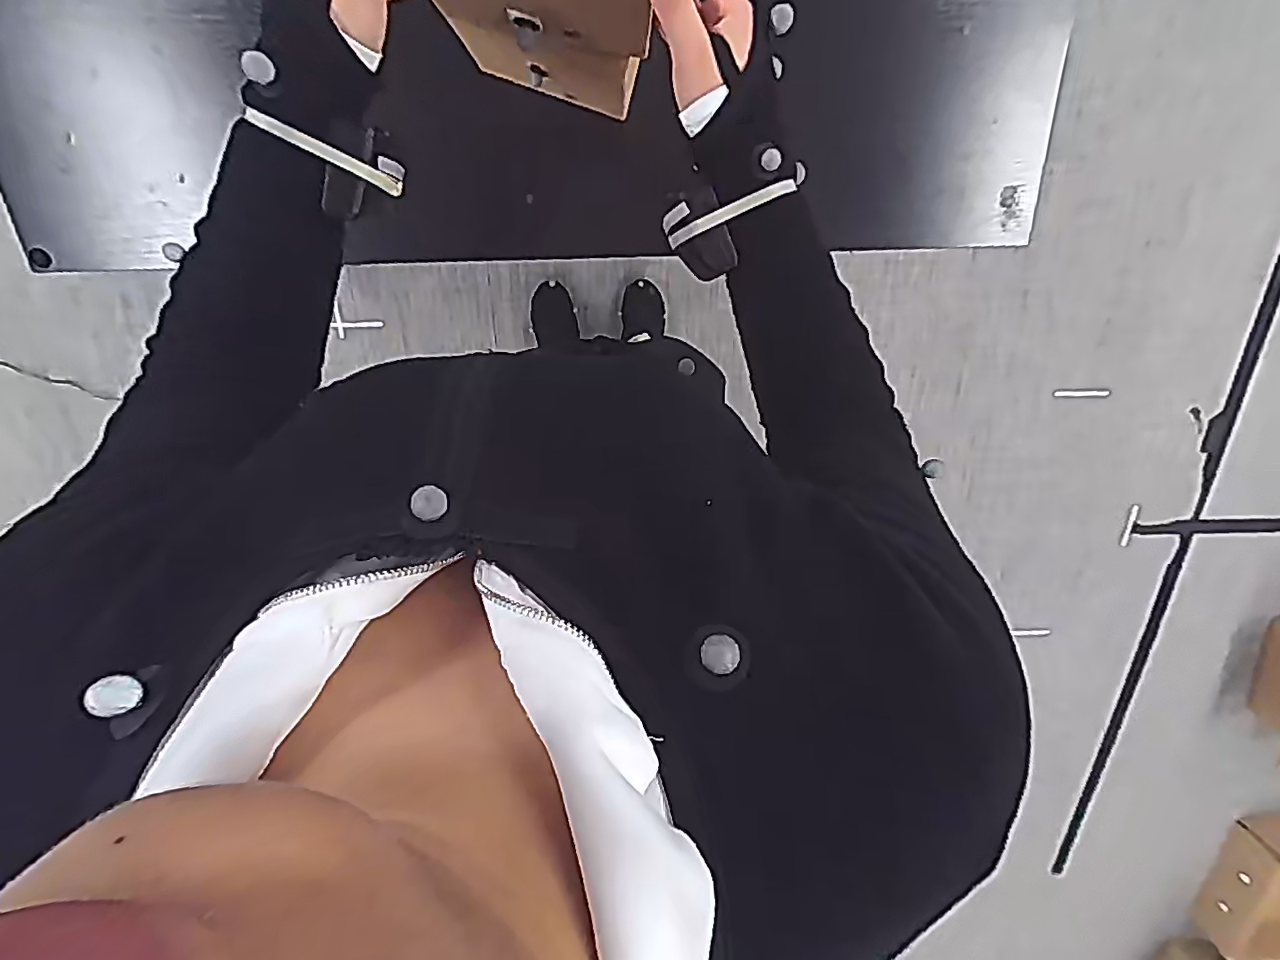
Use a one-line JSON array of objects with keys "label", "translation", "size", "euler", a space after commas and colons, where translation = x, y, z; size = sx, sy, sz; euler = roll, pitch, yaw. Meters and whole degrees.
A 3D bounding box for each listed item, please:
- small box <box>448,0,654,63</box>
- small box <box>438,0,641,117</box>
[{"label": "small box", "translation": [-0.061, -0.418, 0.354], "size": [0.168, 0.176, 0.179], "euler": [7, 112, -4]}, {"label": "small box", "translation": [-0.069, -0.478, 0.506], "size": [0.168, 0.176, 0.179], "euler": [15, 109, -8]}]
